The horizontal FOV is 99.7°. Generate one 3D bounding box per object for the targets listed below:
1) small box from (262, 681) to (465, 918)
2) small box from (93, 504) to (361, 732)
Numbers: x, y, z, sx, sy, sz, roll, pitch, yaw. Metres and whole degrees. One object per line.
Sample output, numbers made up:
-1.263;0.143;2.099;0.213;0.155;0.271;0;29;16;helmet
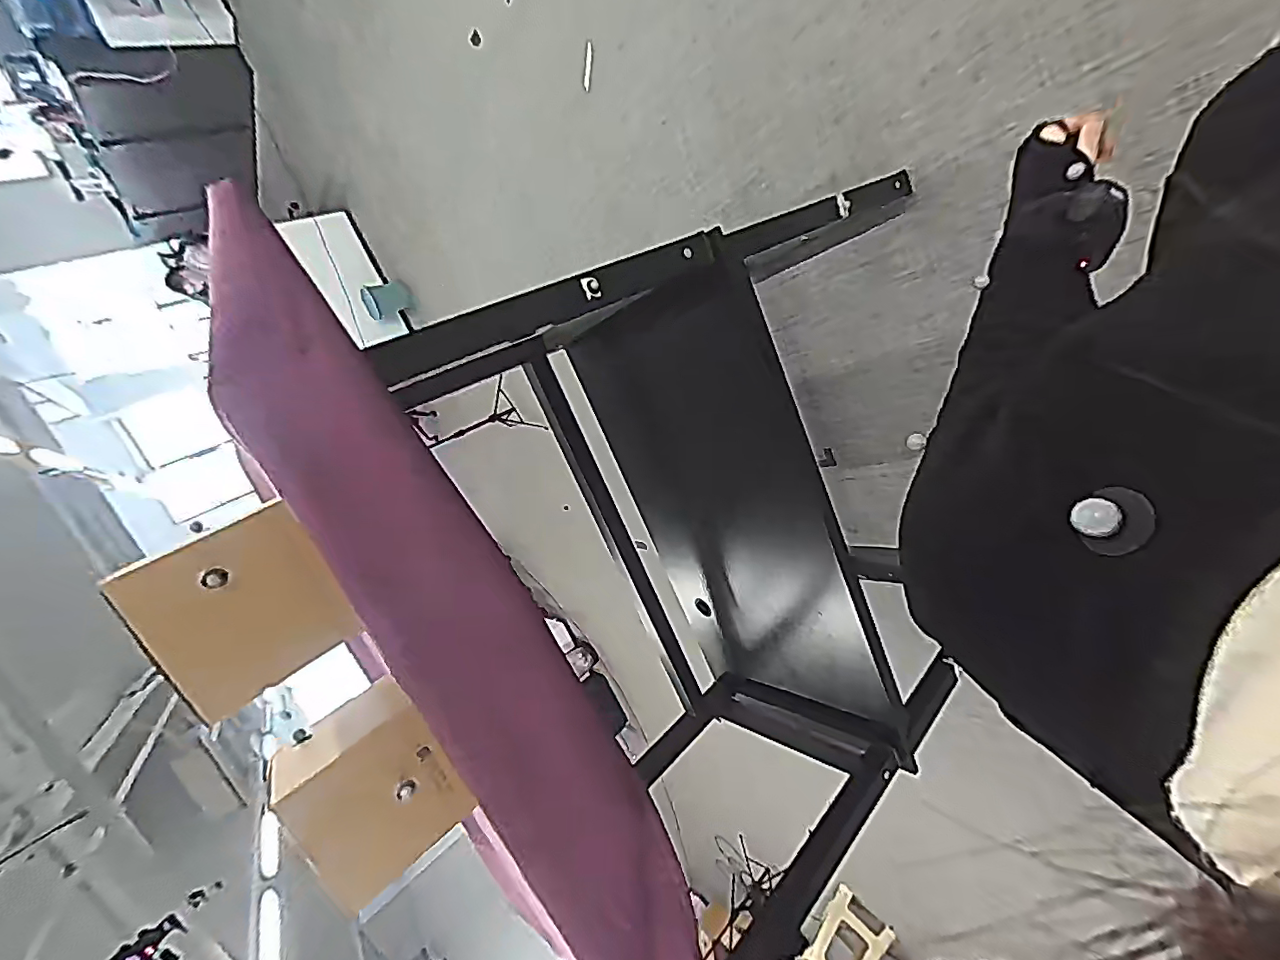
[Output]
-0.353;0.390;0.701;0.179;0.176;0.168;-7;112;56;small box
-0.457;0.140;0.624;0.168;0.176;0.179;0;118;55;small box
